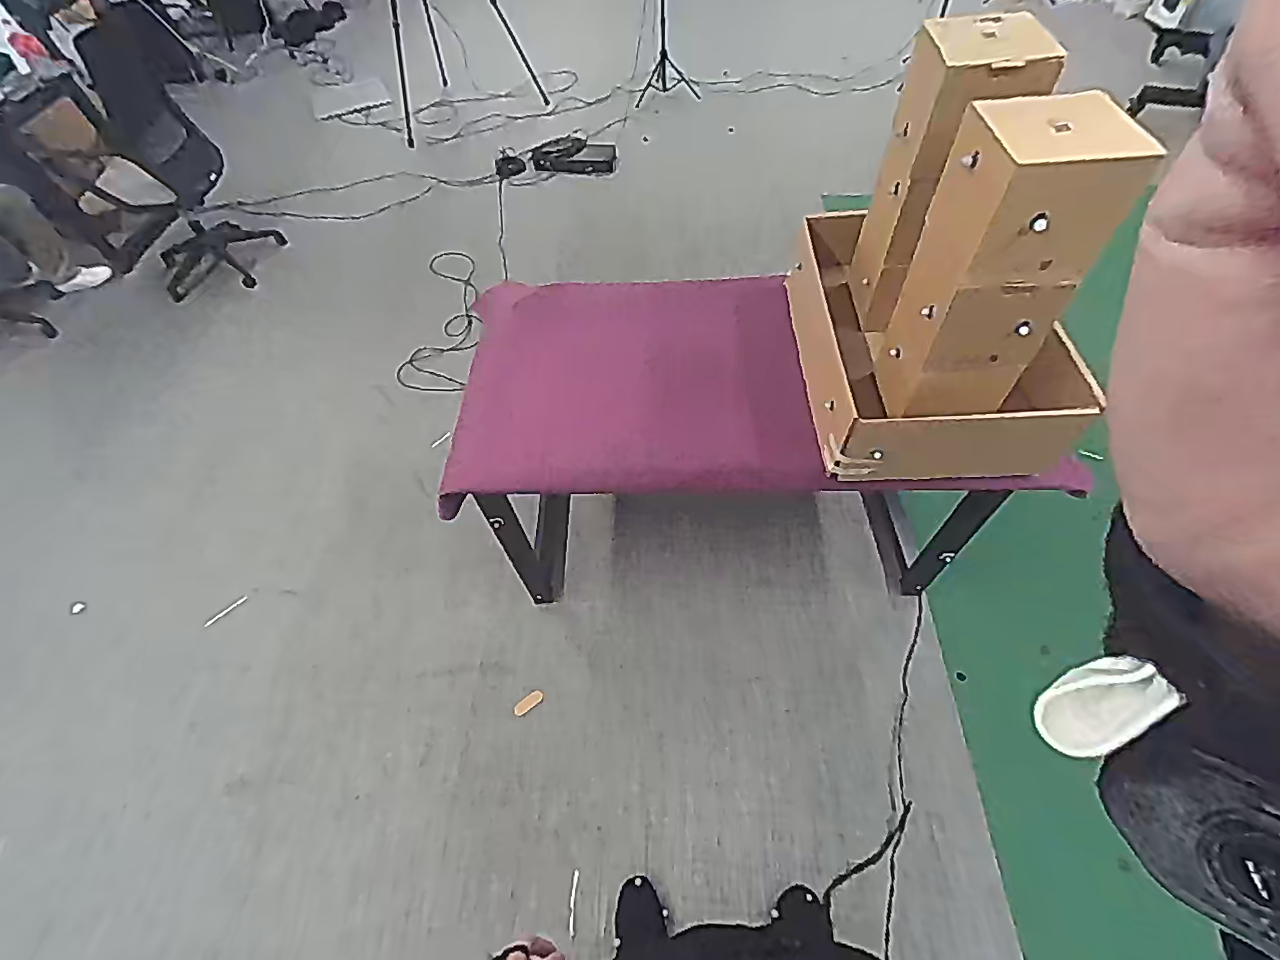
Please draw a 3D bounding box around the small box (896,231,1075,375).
[{"bbox_3d":[0.535,-0.282,0.870,0.168,0.176,0.179,-1,53,5],"label":"small box"}]

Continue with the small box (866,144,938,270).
[{"bbox_3d":[0.549,-0.519,1.034,0.168,0.176,0.179,1,56,5],"label":"small box"}]

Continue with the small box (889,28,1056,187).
[{"bbox_3d":[0.534,-0.609,0.898,0.168,0.176,0.179,0,57,6],"label":"small box"}]

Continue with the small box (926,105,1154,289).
[{"bbox_3d":[0.522,-0.379,0.741,0.168,0.176,0.179,-2,53,5],"label":"small box"}]
